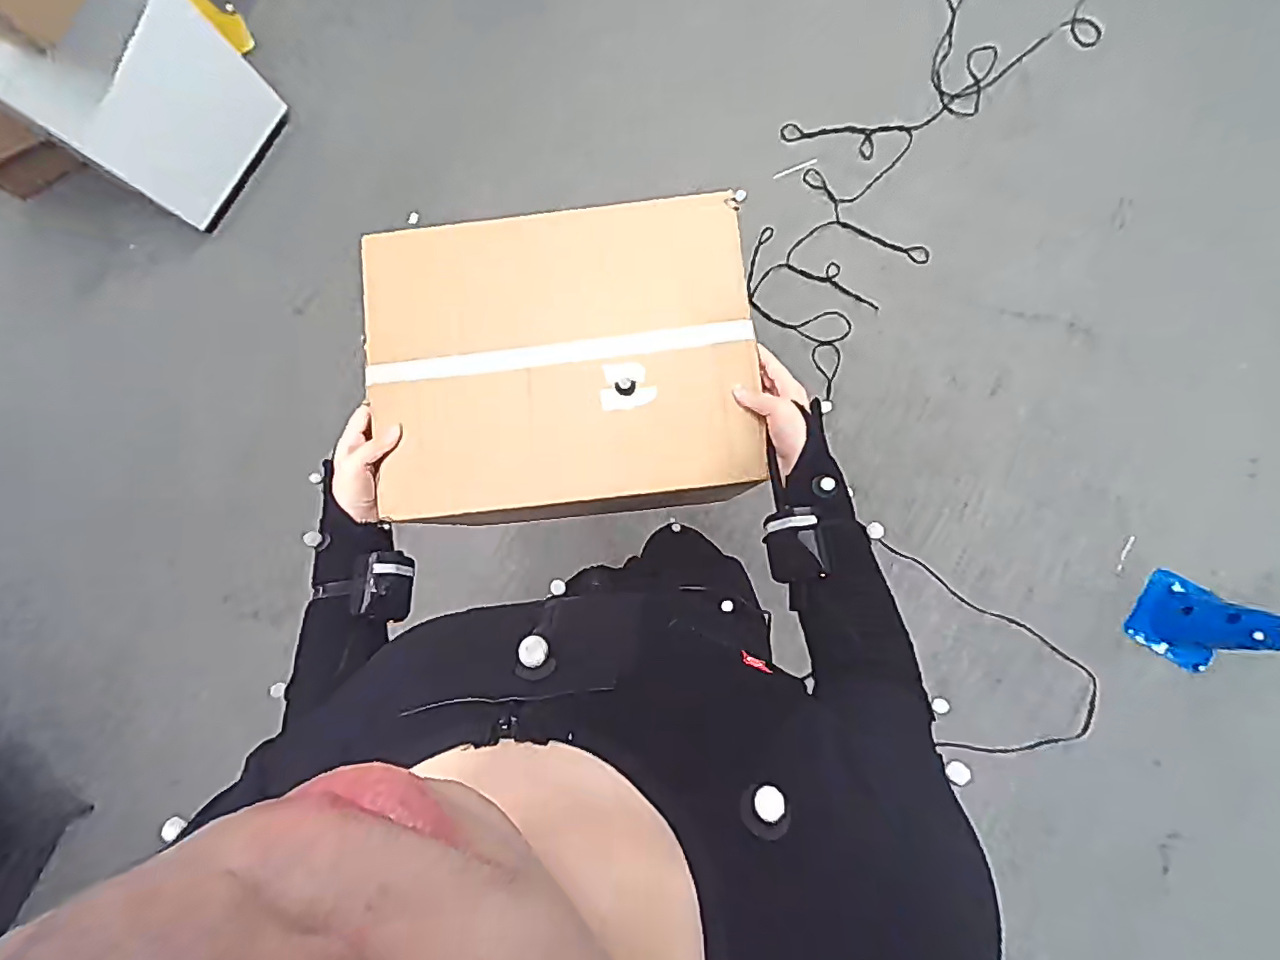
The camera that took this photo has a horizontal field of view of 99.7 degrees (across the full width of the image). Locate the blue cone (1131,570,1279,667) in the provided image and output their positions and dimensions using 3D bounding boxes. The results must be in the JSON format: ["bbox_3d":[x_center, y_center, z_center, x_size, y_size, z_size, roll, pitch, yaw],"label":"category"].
[{"bbox_3d":[1.338,0.323,1.197,0.192,0.380,0.193,33,87,9],"label":"blue cone"}]

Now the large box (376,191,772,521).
[{"bbox_3d":[-0.075,-0.125,0.720,0.408,0.320,0.320,-6,84,0],"label":"large box"}]
